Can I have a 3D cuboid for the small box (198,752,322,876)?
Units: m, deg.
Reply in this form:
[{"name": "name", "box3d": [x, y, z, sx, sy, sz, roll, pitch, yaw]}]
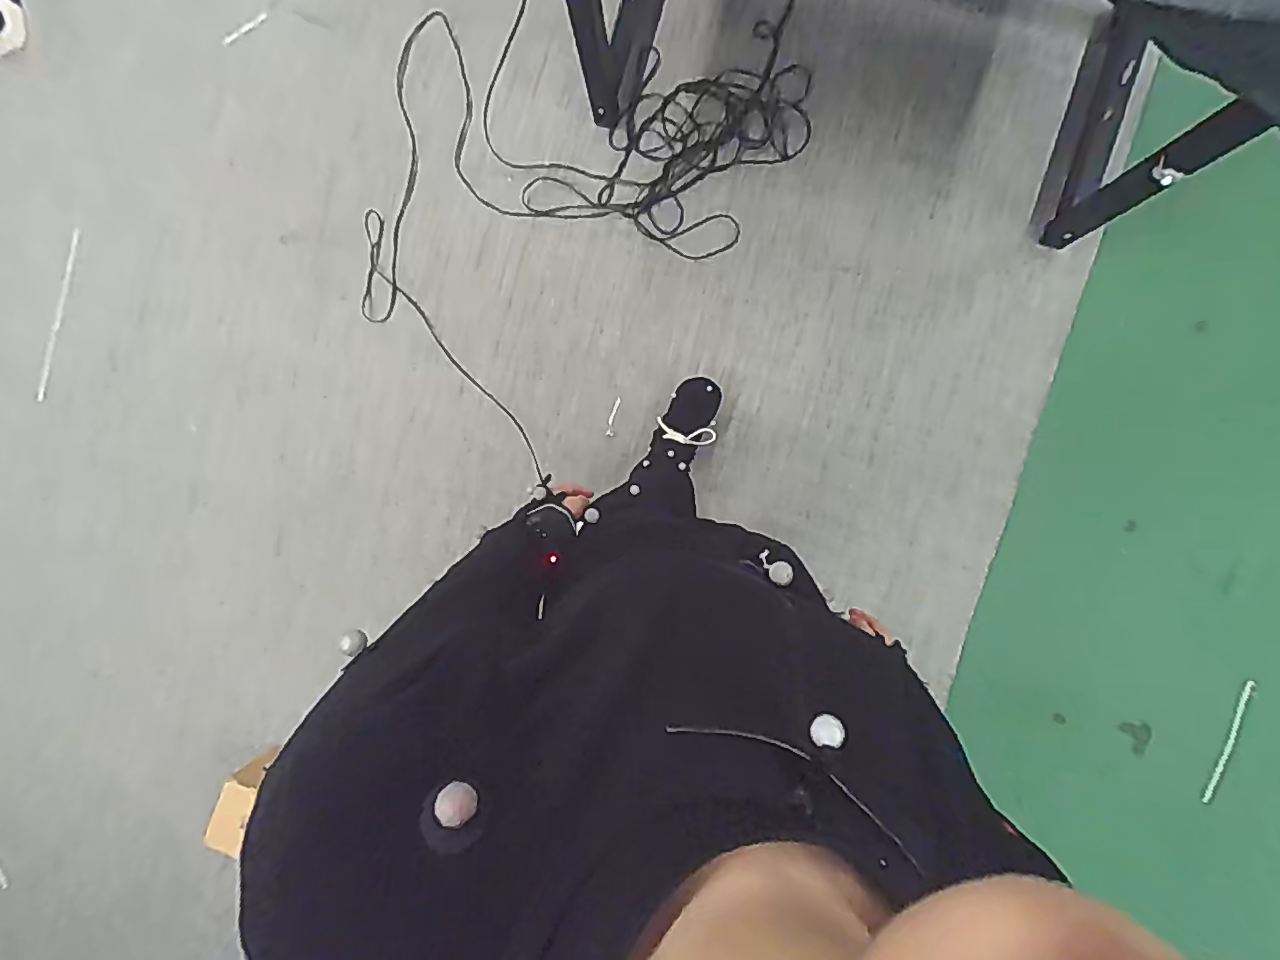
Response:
[{"name": "small box", "box3d": [-0.936, 0.821, 1.351, 0.168, 0.176, 0.179, 21, 93, 4]}]
